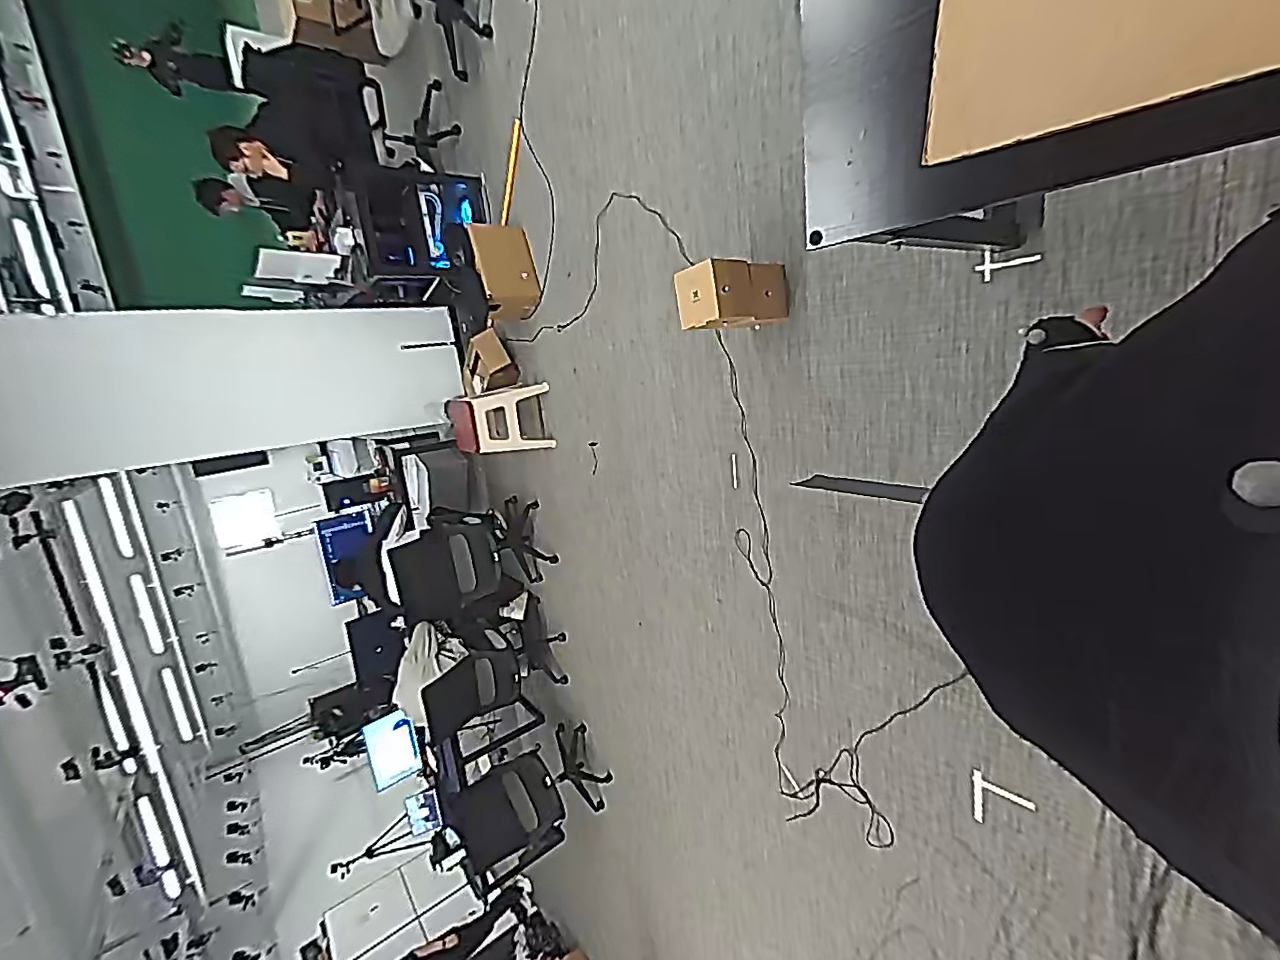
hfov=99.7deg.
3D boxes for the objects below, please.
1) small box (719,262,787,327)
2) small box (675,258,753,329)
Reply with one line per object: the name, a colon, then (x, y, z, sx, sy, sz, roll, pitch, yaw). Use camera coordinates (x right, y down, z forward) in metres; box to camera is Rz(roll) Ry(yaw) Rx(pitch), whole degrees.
small box: (0.363, -0.604, 1.773, 0.168, 0.176, 0.179, 5, 106, 53)
small box: (0.234, -0.576, 1.678, 0.168, 0.176, 0.179, -1, 100, 52)
